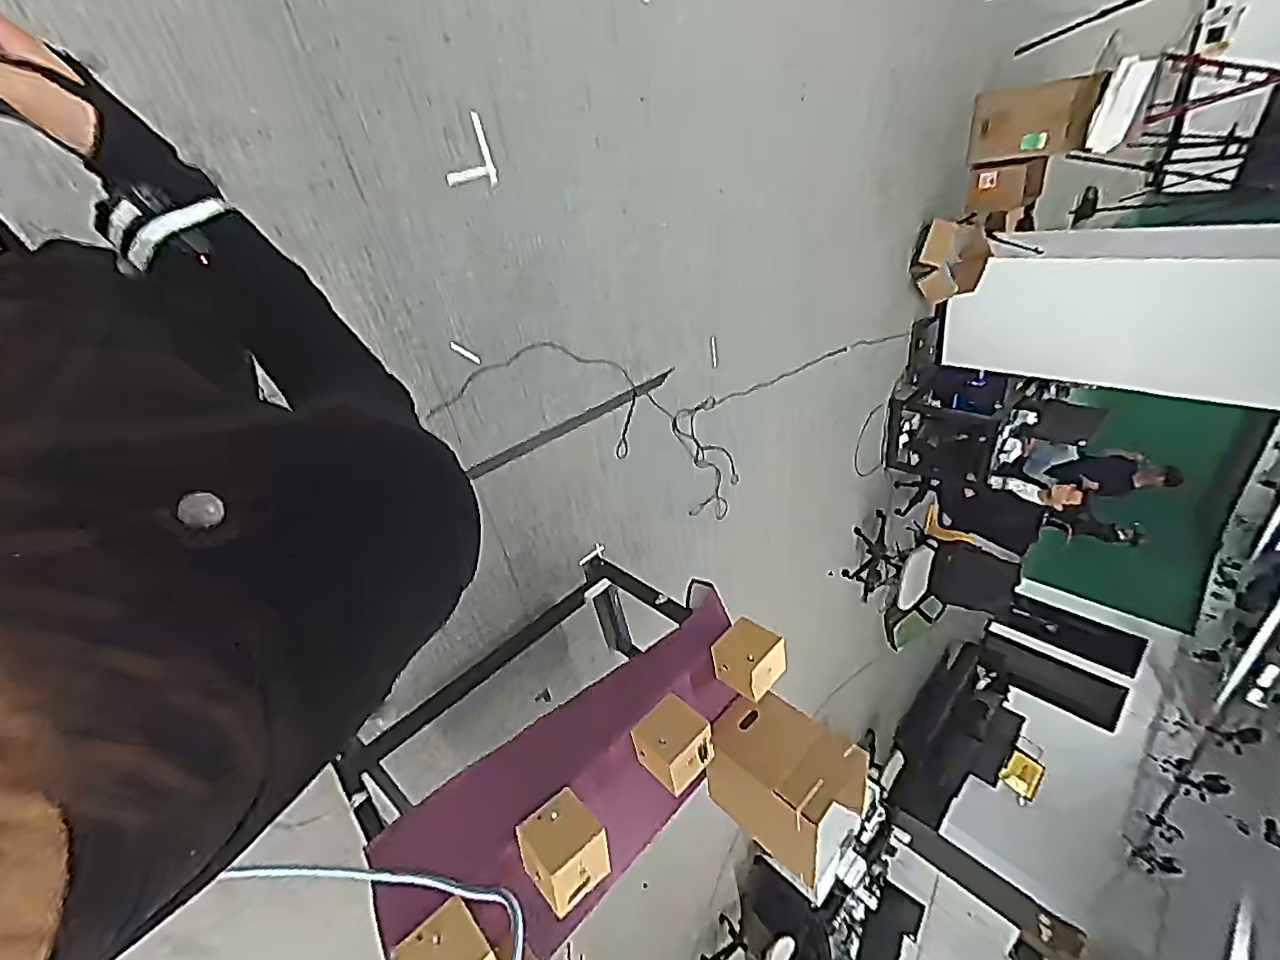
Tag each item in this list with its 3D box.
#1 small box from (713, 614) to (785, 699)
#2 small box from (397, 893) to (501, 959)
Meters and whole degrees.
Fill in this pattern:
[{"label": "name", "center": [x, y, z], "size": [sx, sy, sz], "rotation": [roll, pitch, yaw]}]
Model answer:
[{"label": "small box", "center": [0.369, 0.589, 1.831], "size": [0.179, 0.176, 0.168], "rotation": [-35, 129, -29]}, {"label": "small box", "center": [-0.429, 1.112, 1.245], "size": [0.168, 0.176, 0.179], "rotation": [-29, 126, -36]}]
